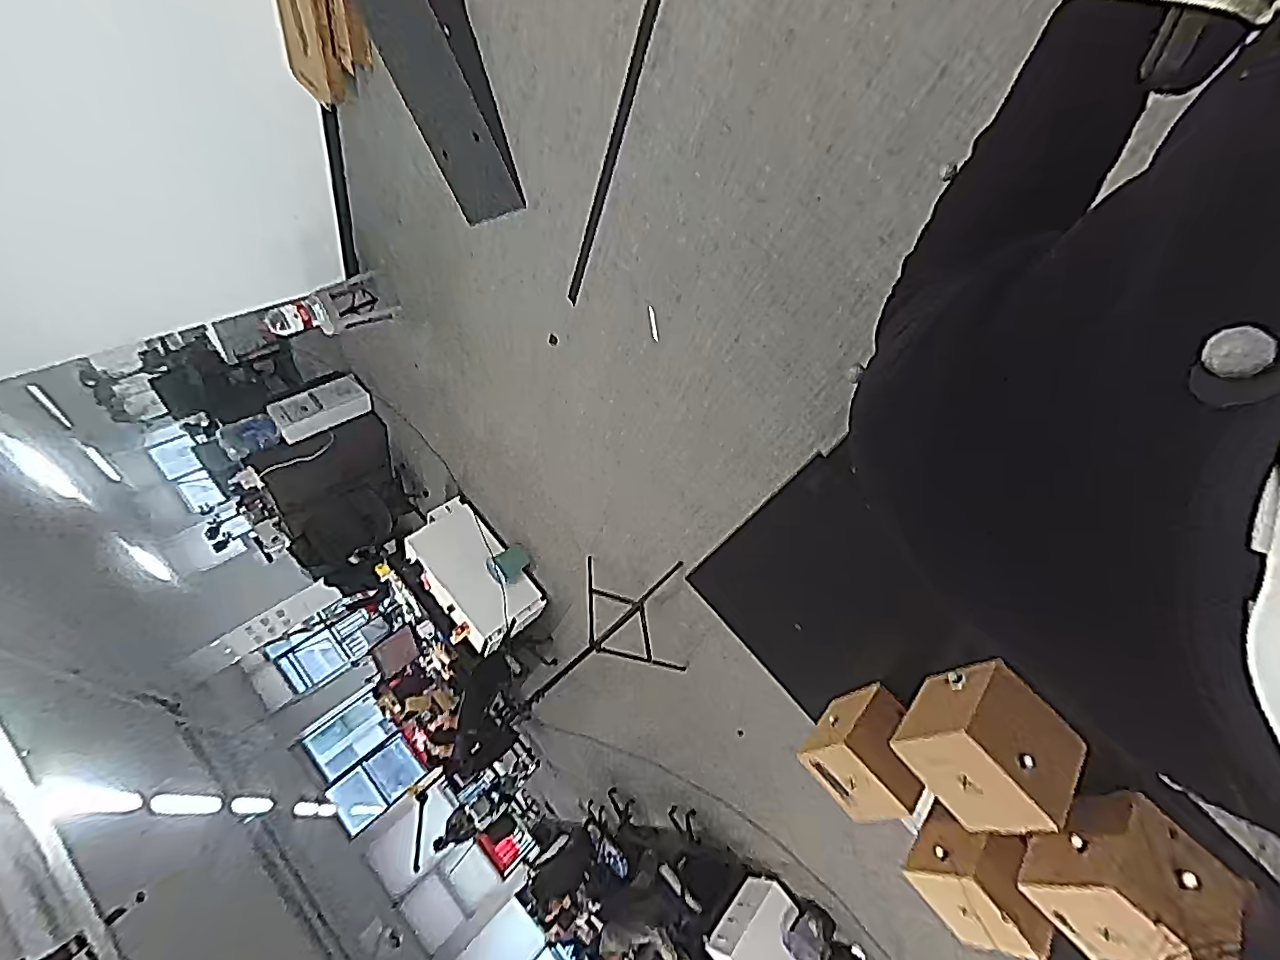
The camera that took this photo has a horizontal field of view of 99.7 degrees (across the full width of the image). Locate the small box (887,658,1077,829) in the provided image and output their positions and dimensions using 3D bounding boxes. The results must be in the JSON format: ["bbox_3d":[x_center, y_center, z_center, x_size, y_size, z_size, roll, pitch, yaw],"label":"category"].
[{"bbox_3d":[0.552,0.424,0.875,0.179,0.176,0.168,48,145,13],"label":"small box"}]

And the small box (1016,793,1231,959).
[{"bbox_3d":[0.724,0.606,0.814,0.168,0.176,0.179,44,144,16],"label":"small box"}]

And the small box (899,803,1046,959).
[{"bbox_3d":[0.648,0.748,1.032,0.168,0.176,0.179,48,145,10],"label":"small box"}]
